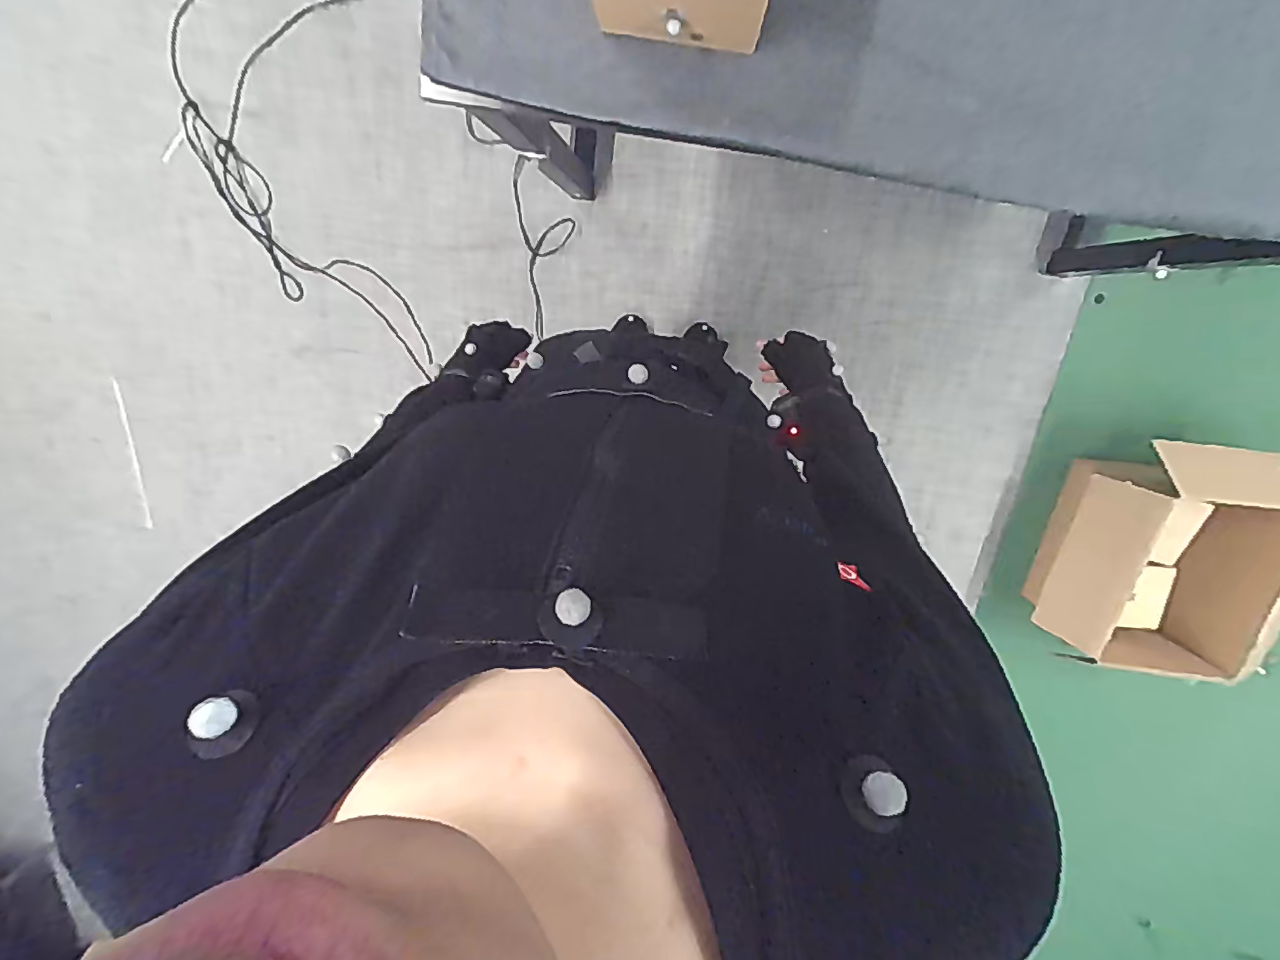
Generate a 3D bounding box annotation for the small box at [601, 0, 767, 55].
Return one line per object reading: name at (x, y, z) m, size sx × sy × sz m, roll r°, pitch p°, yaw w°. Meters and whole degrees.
small box at (0.047, -0.520, 0.471) m, size 0.168 × 0.176 × 0.179 m, roll 10°, pitch 108°, yaw 1°
